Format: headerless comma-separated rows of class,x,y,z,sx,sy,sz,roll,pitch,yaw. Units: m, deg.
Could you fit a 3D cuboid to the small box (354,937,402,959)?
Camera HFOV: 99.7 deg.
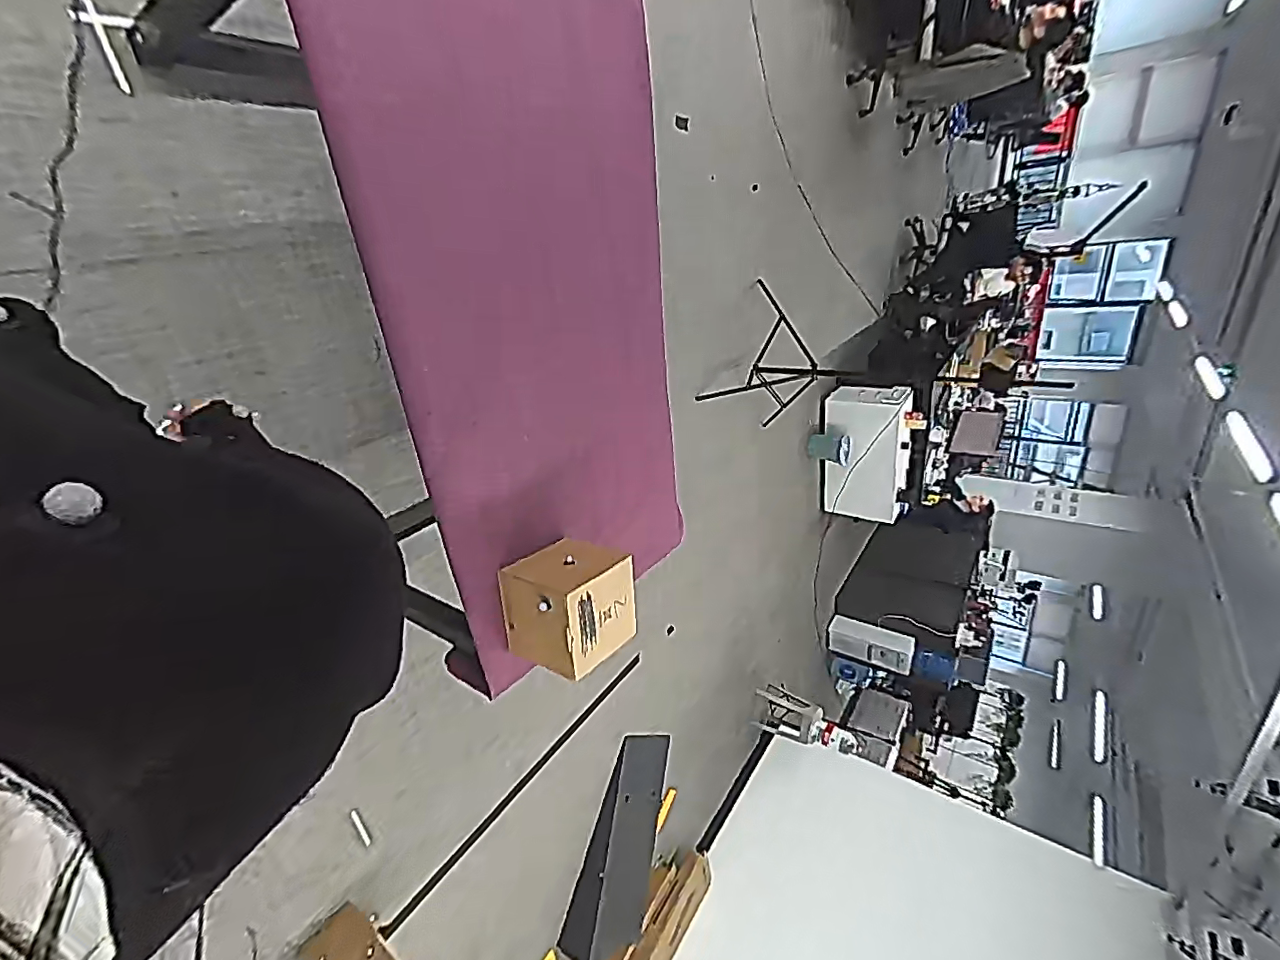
small box,-0.722,1.410,1.476,0.168,0.176,0.179,-34,127,-45

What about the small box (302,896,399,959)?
small box,-0.850,1.382,1.576,0.179,0.176,0.168,-38,129,-44
